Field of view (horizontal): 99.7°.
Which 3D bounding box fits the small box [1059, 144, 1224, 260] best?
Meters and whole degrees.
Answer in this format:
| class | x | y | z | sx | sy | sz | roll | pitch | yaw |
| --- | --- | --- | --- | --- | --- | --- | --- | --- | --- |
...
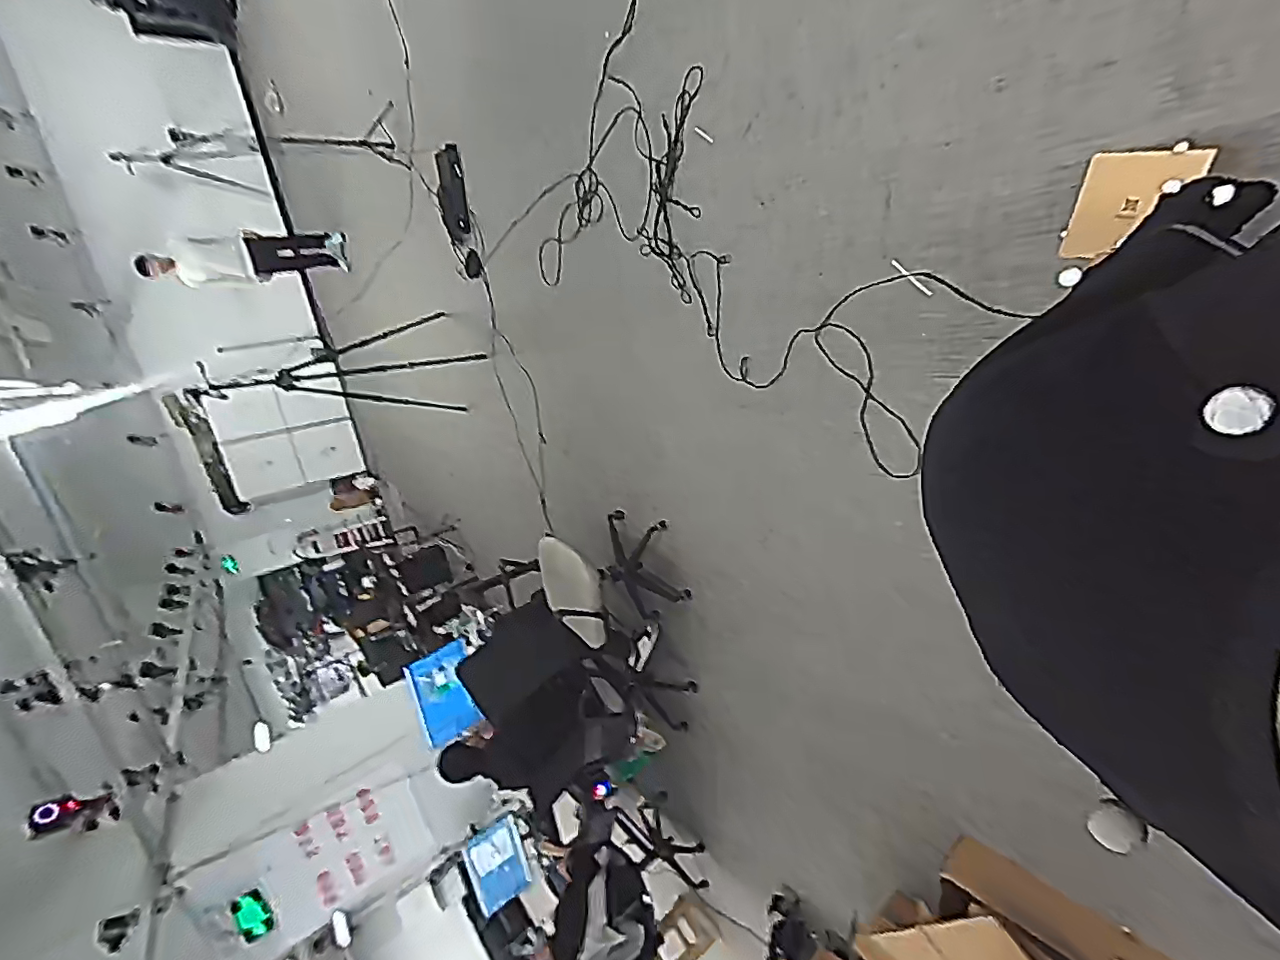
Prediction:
| class | x | y | z | sx | sy | sz | roll | pitch | yaw |
| --- | --- | --- | --- | --- | --- | --- | --- | --- | --- |
| small box | 0.929 | -0.514 | 1.003 | 0.168 | 0.176 | 0.179 | 30 | 131 | 44 |
